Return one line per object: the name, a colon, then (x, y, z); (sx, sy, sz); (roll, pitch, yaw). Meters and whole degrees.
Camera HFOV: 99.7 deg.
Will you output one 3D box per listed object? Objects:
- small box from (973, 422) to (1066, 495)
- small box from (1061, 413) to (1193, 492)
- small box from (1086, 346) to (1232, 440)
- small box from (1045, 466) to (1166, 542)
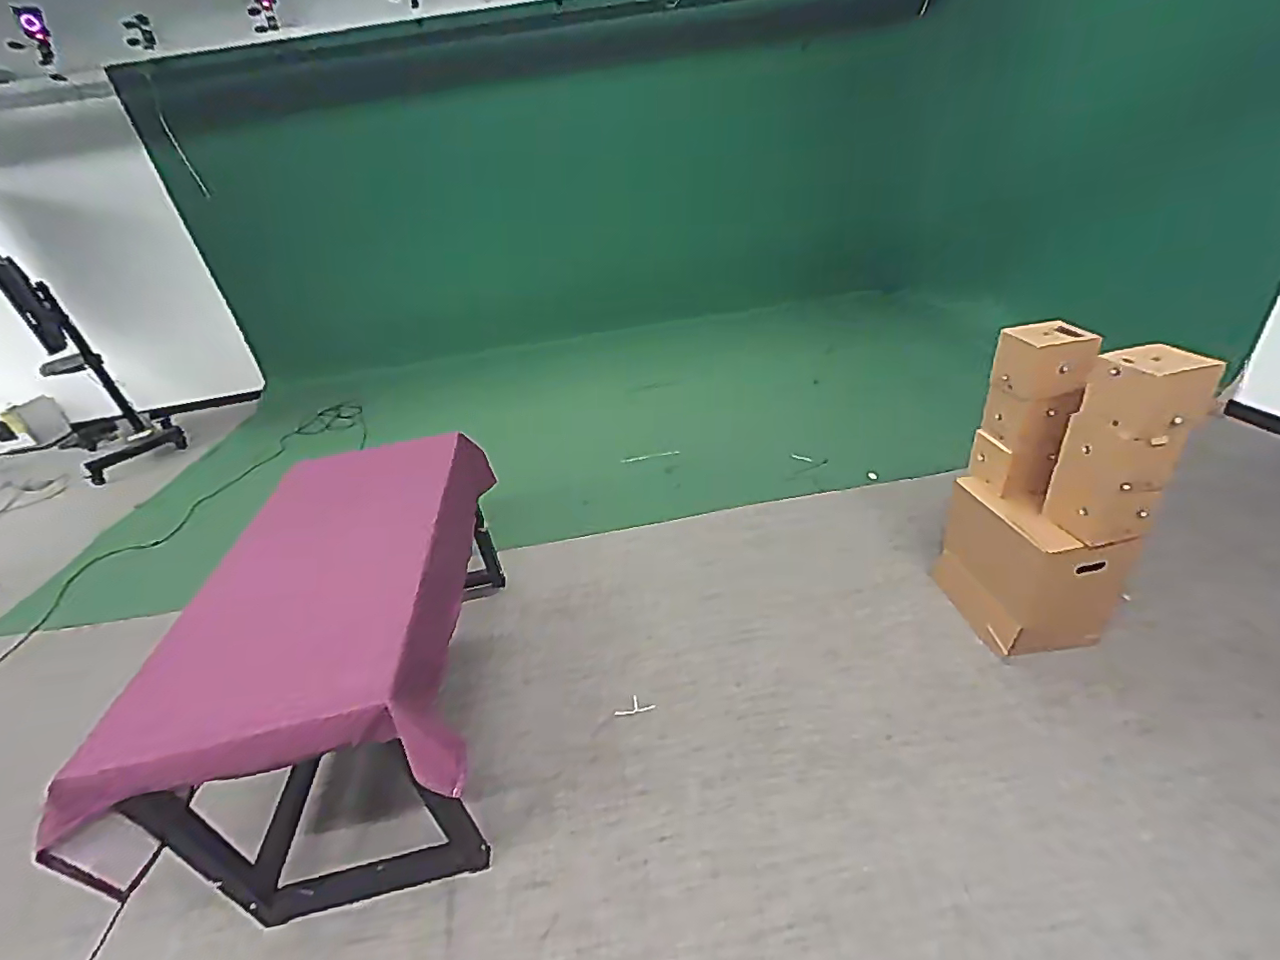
small box: (1.204, -0.067, 1.735); (0.179, 0.176, 0.168); (-9, 33, -1)
small box: (1.271, -0.077, 1.427); (0.168, 0.176, 0.179); (-9, 30, -2)
small box: (1.266, -0.215, 1.336); (0.179, 0.176, 0.168); (-10, 30, -4)
small box: (1.290, 0.061, 1.513); (0.168, 0.176, 0.179); (-10, 30, -3)
